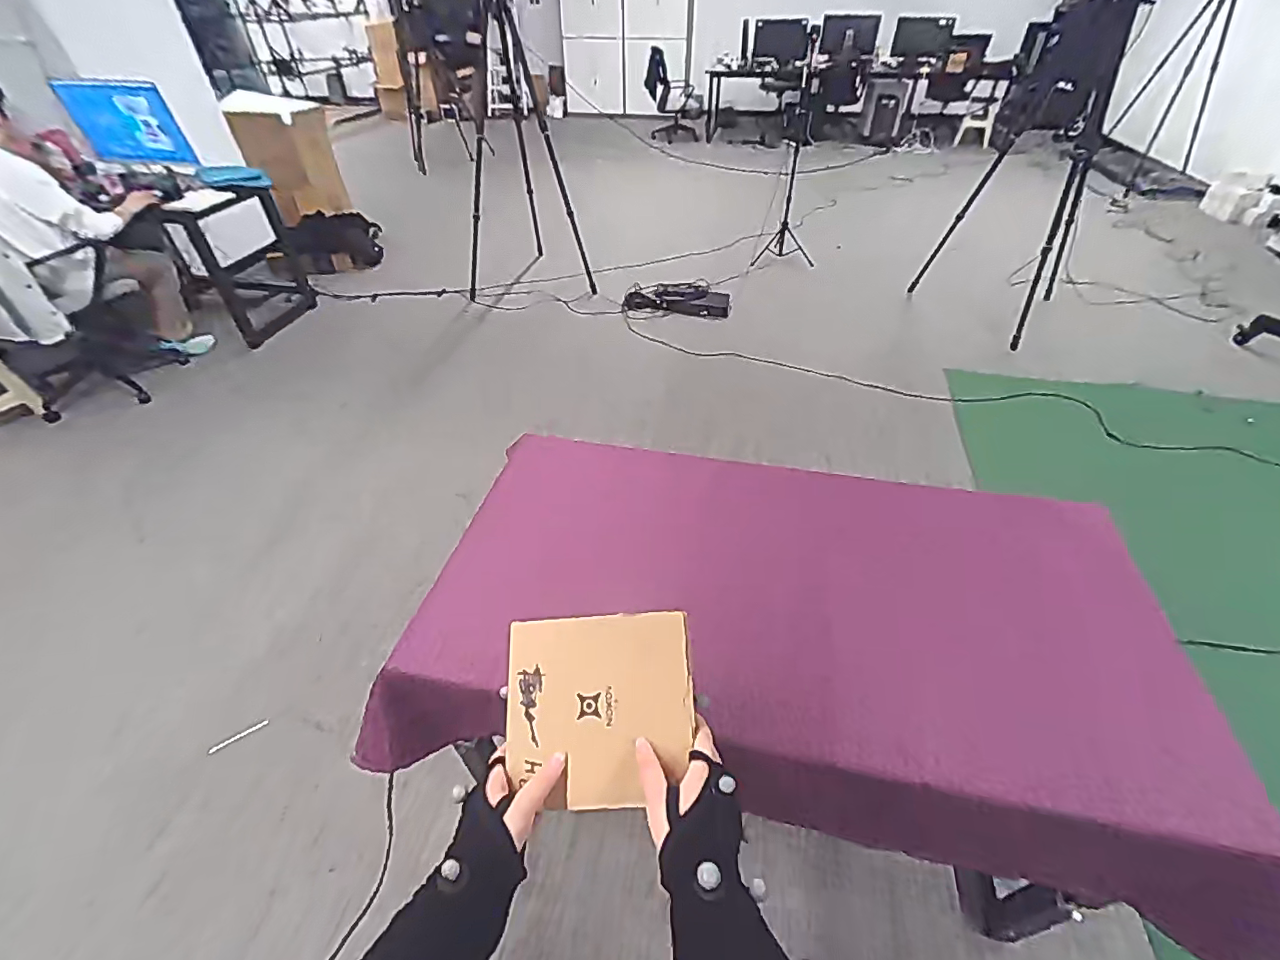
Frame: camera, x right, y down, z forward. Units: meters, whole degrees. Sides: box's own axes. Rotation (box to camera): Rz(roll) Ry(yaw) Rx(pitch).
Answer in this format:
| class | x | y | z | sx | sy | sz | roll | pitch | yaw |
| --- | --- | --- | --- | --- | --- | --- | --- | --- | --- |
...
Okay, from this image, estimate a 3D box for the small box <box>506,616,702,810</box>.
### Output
| class | x | y | z | sx | sy | sz | roll | pitch | yaw |
| --- | --- | --- | --- | --- | --- | --- | --- | --- | --- |
| small box | -0.030 | 0.243 | 0.578 | 0.179 | 0.176 | 0.168 | -4 | 66 | 3 |
